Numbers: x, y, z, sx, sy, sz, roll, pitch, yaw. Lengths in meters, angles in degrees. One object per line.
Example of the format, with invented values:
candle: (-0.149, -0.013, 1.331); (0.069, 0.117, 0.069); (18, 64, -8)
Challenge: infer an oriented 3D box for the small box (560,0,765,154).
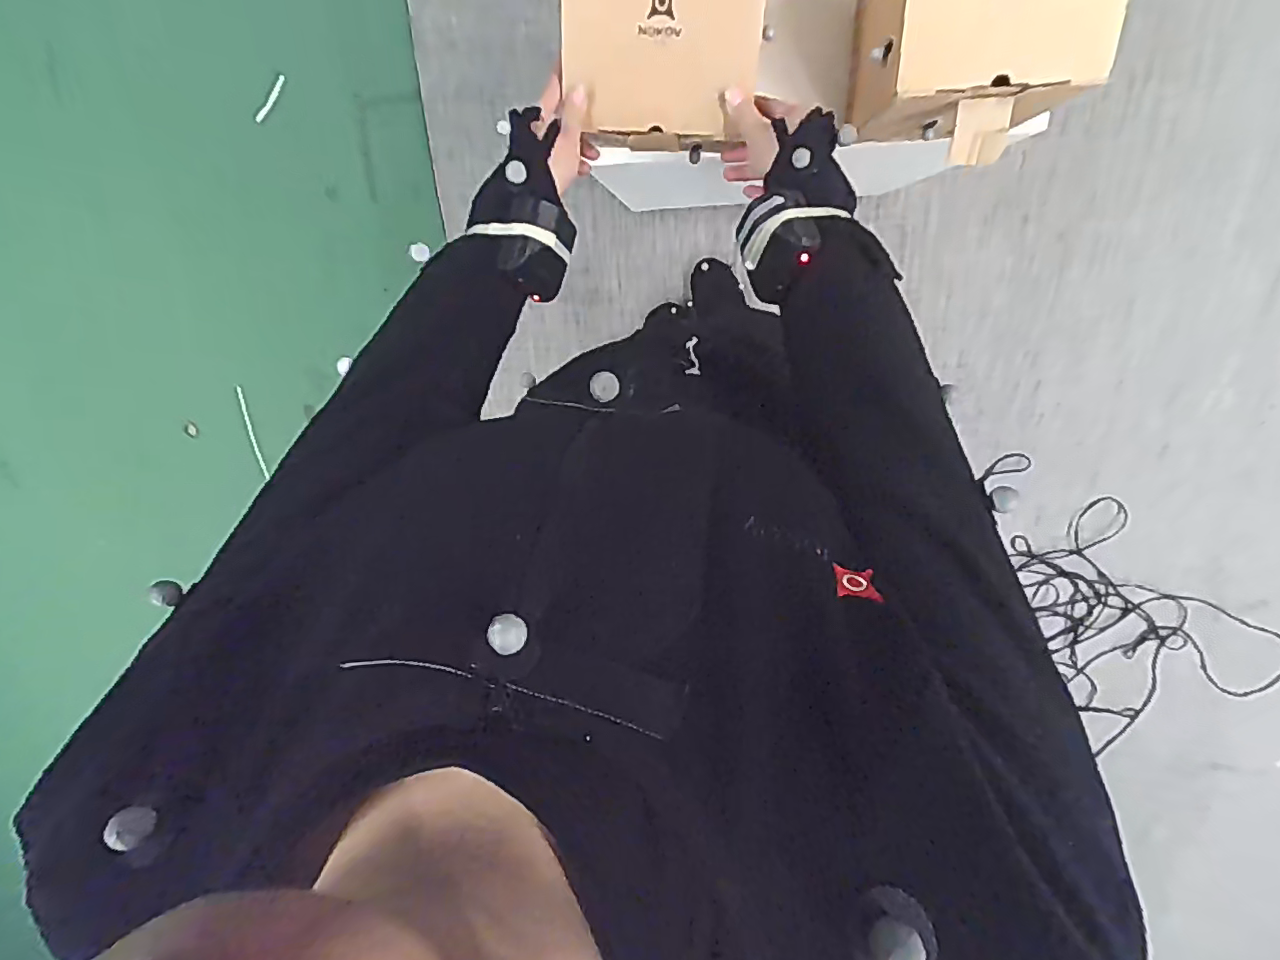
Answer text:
small box: (0.025, -0.409, 0.501); (0.168, 0.176, 0.179); (4, 118, 4)

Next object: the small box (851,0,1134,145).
small box: (0.297, -0.421, 0.479); (0.168, 0.176, 0.179); (0, 110, 6)
